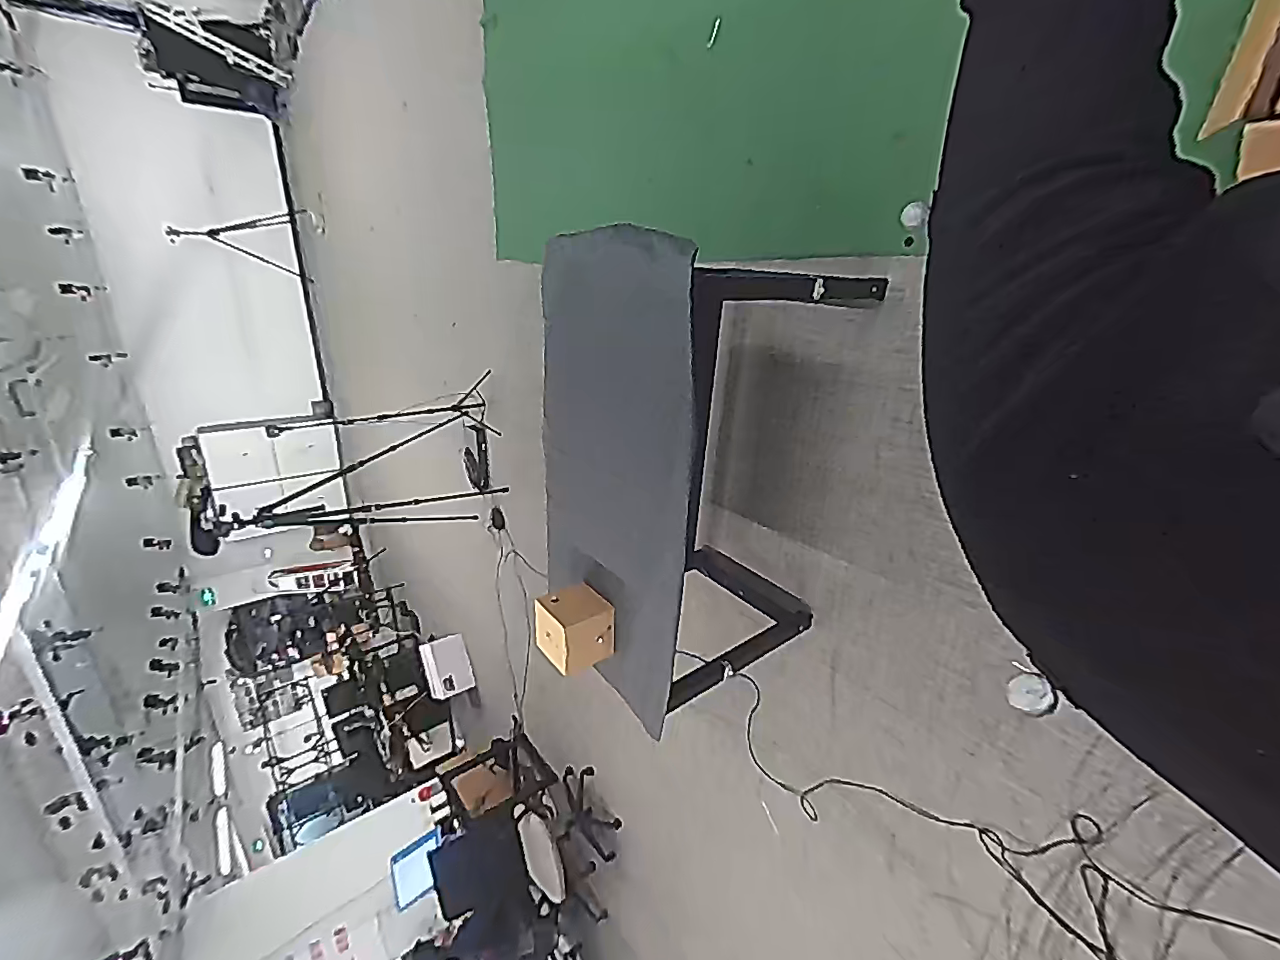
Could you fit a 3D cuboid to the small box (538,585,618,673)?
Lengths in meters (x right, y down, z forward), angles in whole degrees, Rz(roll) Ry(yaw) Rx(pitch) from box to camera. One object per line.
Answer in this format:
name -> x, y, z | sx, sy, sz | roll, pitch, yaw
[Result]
small box -> -0.183, 0.424, 1.580 | 0.179, 0.176, 0.168 | 27, 122, 47
